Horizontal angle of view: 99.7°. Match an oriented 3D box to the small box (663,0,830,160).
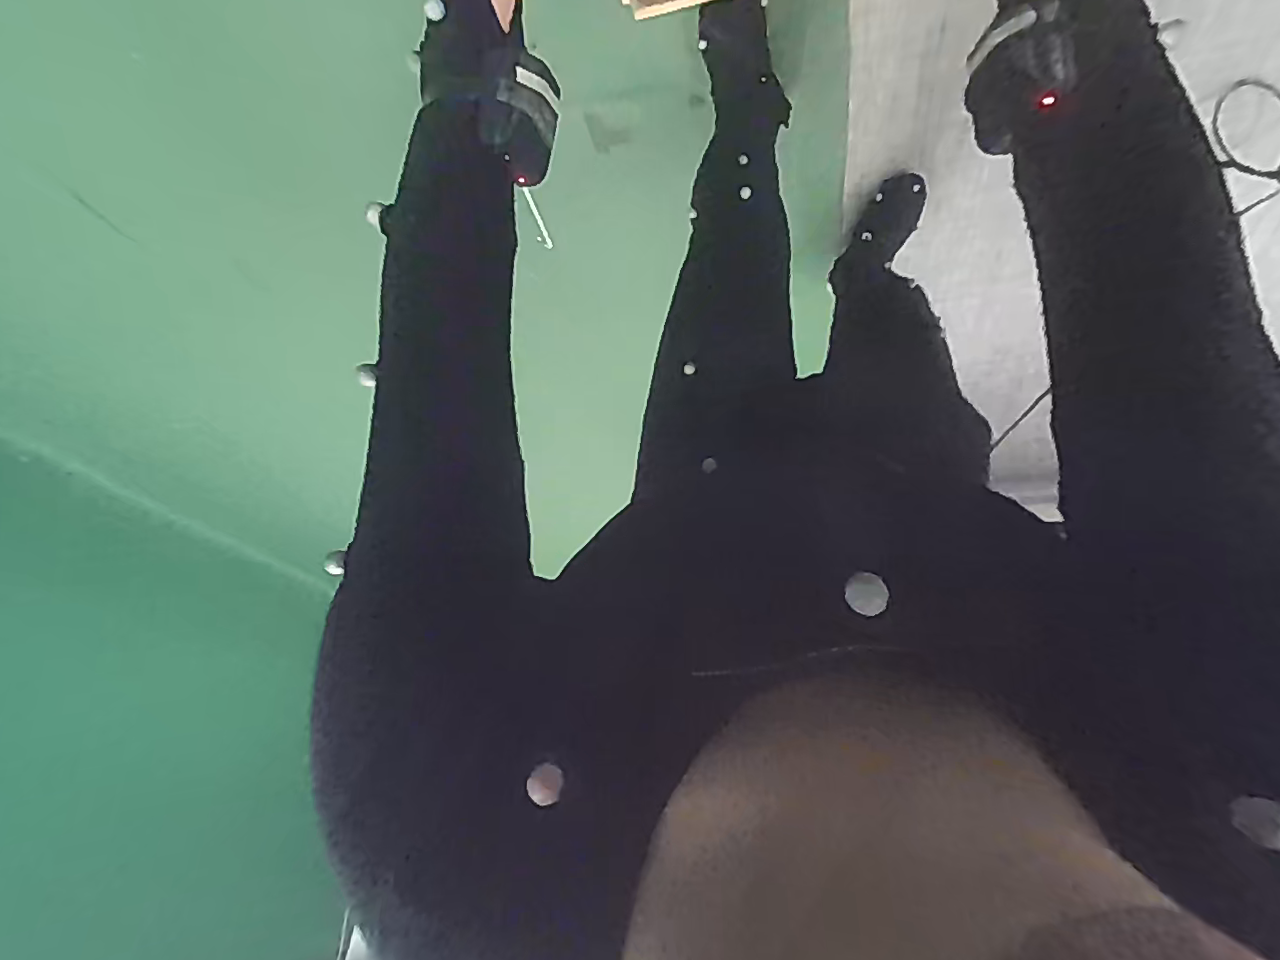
[{"bbox_3d":[0.177,-0.661,0.868,0.176,0.168,0.179,-4,137,-47],"label":"small box"}]
